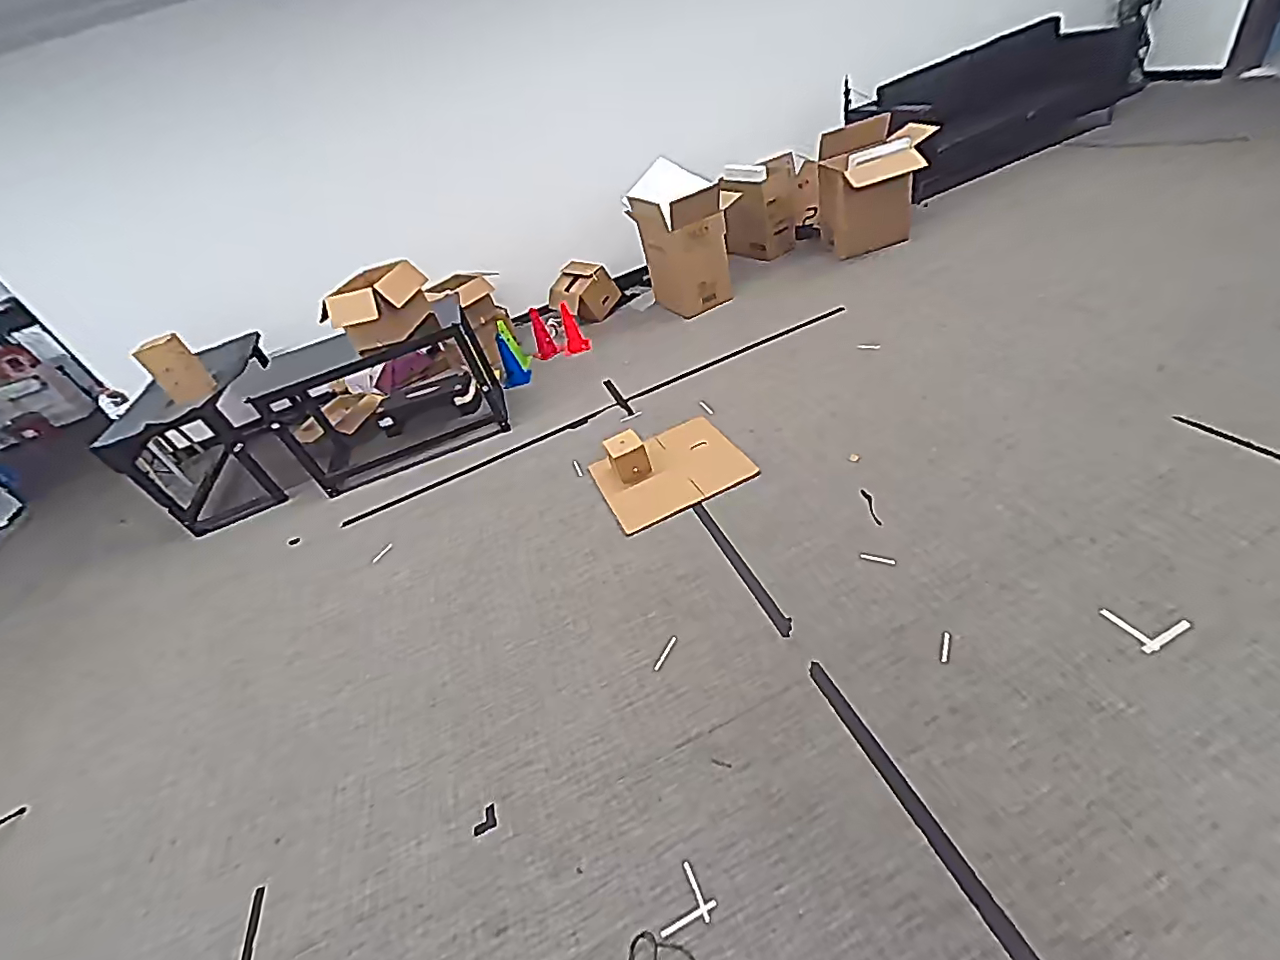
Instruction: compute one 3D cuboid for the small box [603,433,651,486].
[{"bbox_3d":[-0.065,-0.101,2.719,0.168,0.176,0.179,-26,39,-8],"label":"small box"}]
